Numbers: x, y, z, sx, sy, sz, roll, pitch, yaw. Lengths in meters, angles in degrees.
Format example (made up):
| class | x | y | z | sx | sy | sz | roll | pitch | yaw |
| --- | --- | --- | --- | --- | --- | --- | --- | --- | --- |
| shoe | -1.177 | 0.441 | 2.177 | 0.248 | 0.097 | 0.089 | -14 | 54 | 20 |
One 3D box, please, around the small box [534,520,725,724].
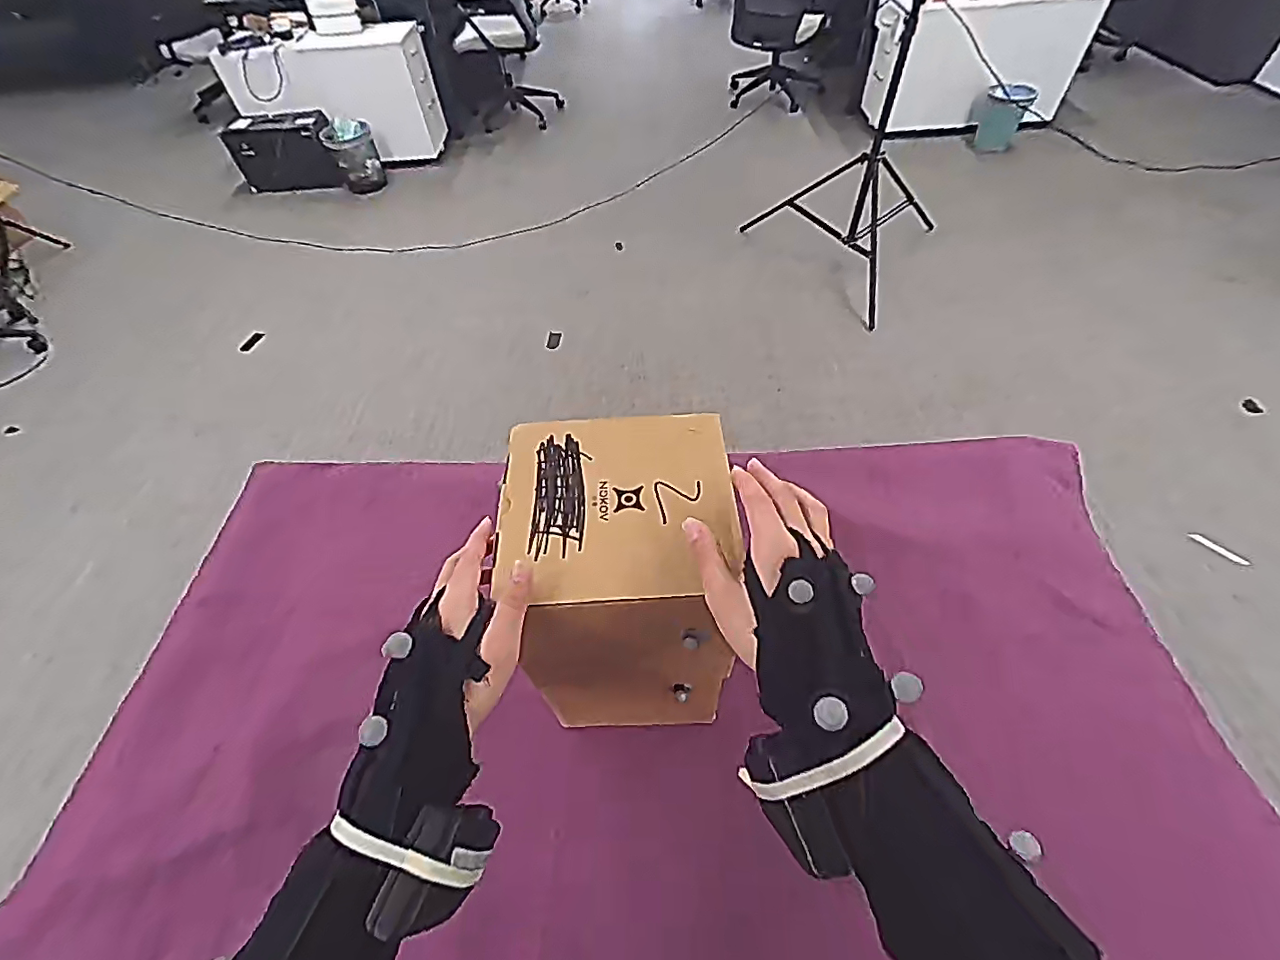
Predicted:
| class | x | y | z | sx | sy | sz | roll | pitch | yaw |
| --- | --- | --- | --- | --- | --- | --- | --- | --- | --- |
| small box | -0.007 | 0.160 | 0.594 | 0.179 | 0.176 | 0.168 | -3 | 52 | 1 |
